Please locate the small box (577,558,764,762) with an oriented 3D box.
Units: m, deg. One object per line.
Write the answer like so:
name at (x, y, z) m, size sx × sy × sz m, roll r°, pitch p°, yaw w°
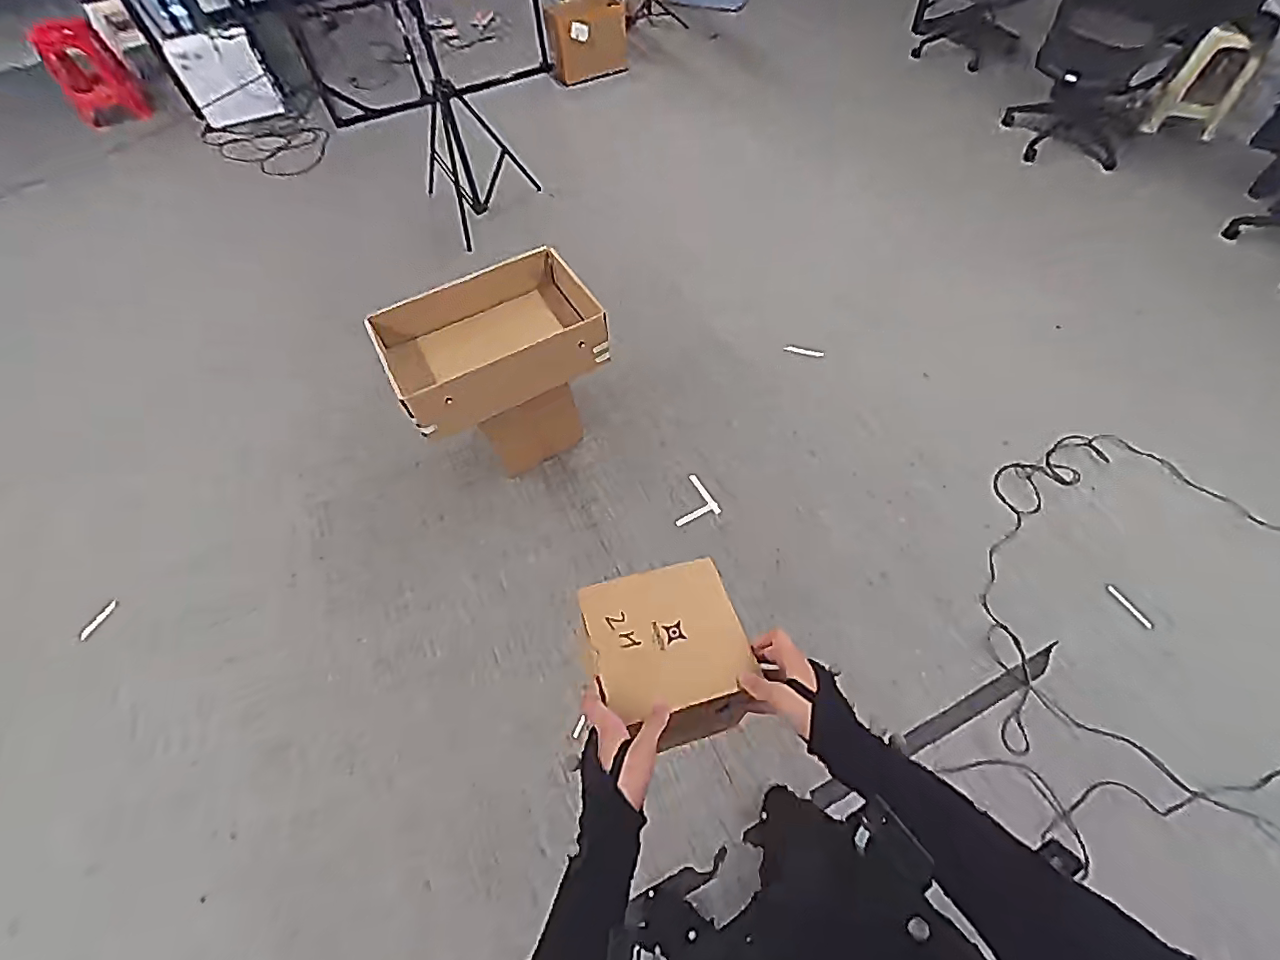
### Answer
small box at (0.024, 0.224, 0.669) m, size 0.179 × 0.176 × 0.168 m, roll -12°, pitch 52°, yaw -13°
